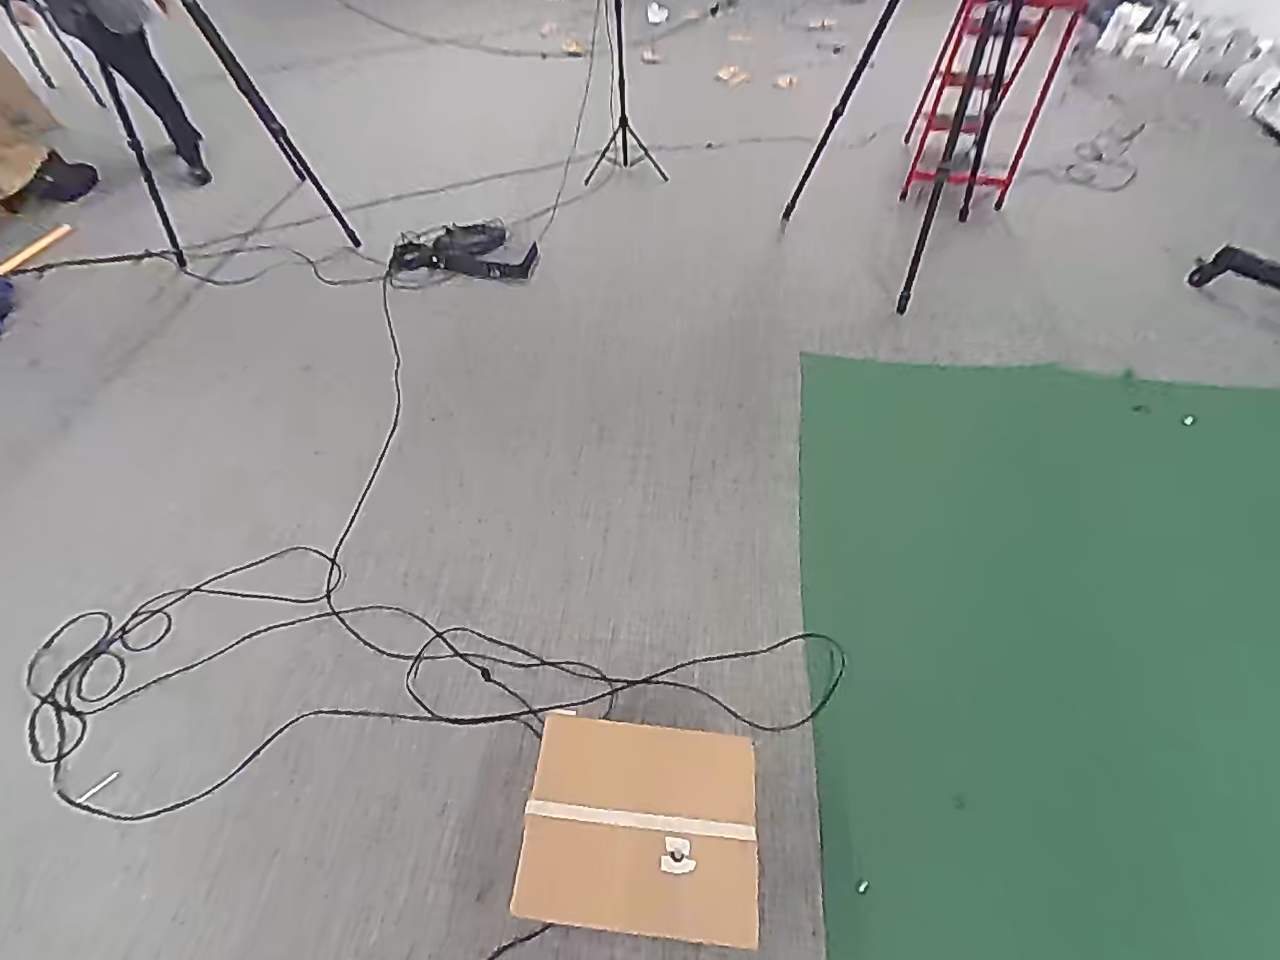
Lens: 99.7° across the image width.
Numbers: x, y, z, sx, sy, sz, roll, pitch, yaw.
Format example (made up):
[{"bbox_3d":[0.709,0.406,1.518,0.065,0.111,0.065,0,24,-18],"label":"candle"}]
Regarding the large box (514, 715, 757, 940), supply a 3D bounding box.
[{"bbox_3d":[0.000,0.684,1.077,0.408,0.320,0.320,5,55,3],"label":"large box"}]
